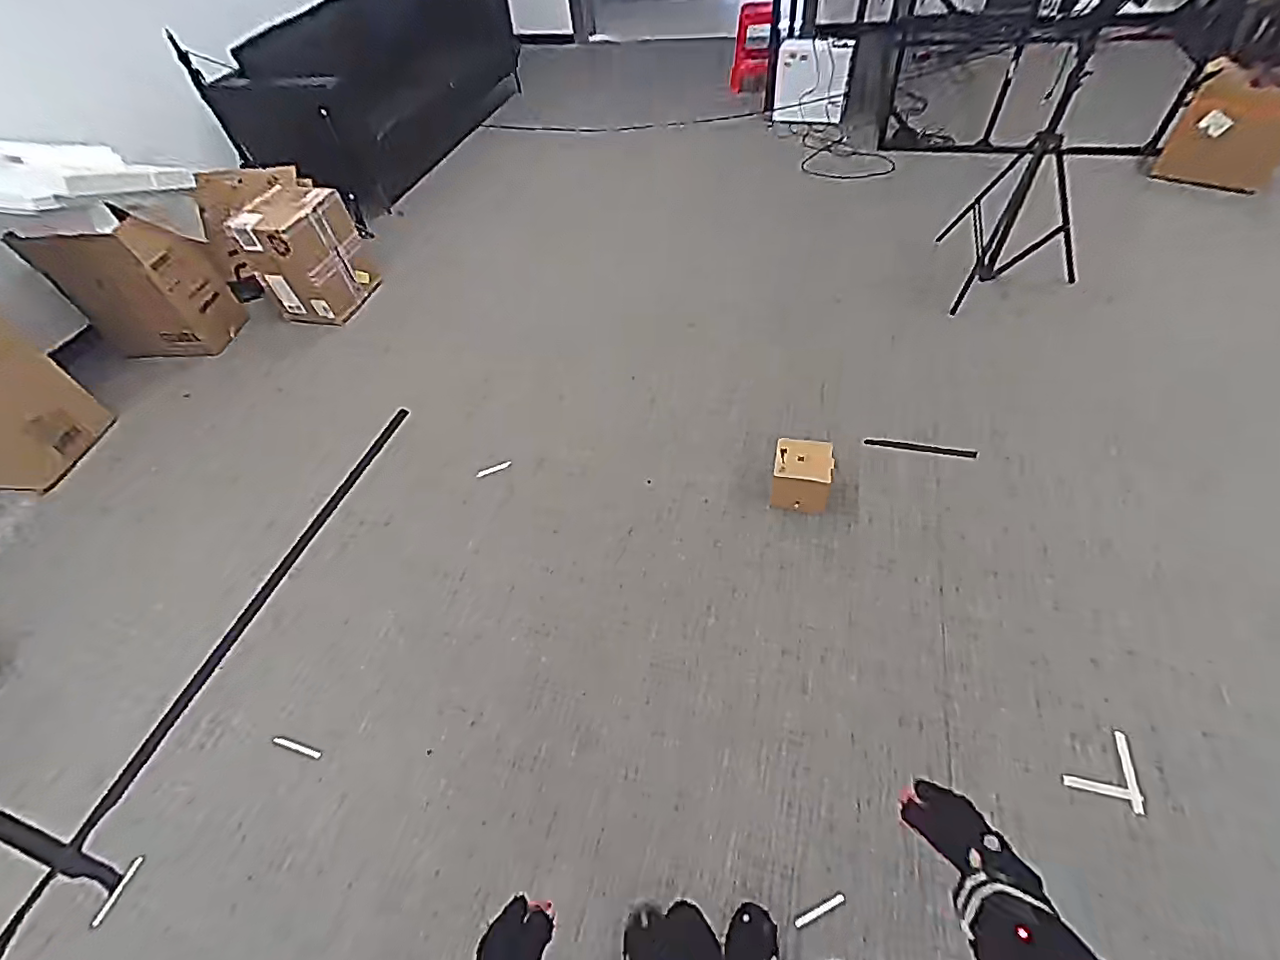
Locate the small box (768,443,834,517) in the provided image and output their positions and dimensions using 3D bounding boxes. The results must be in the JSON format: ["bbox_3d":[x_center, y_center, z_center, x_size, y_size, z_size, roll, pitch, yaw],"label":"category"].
[{"bbox_3d":[0.524,0.003,1.766,0.179,0.176,0.168,9,54,13],"label":"small box"}]
